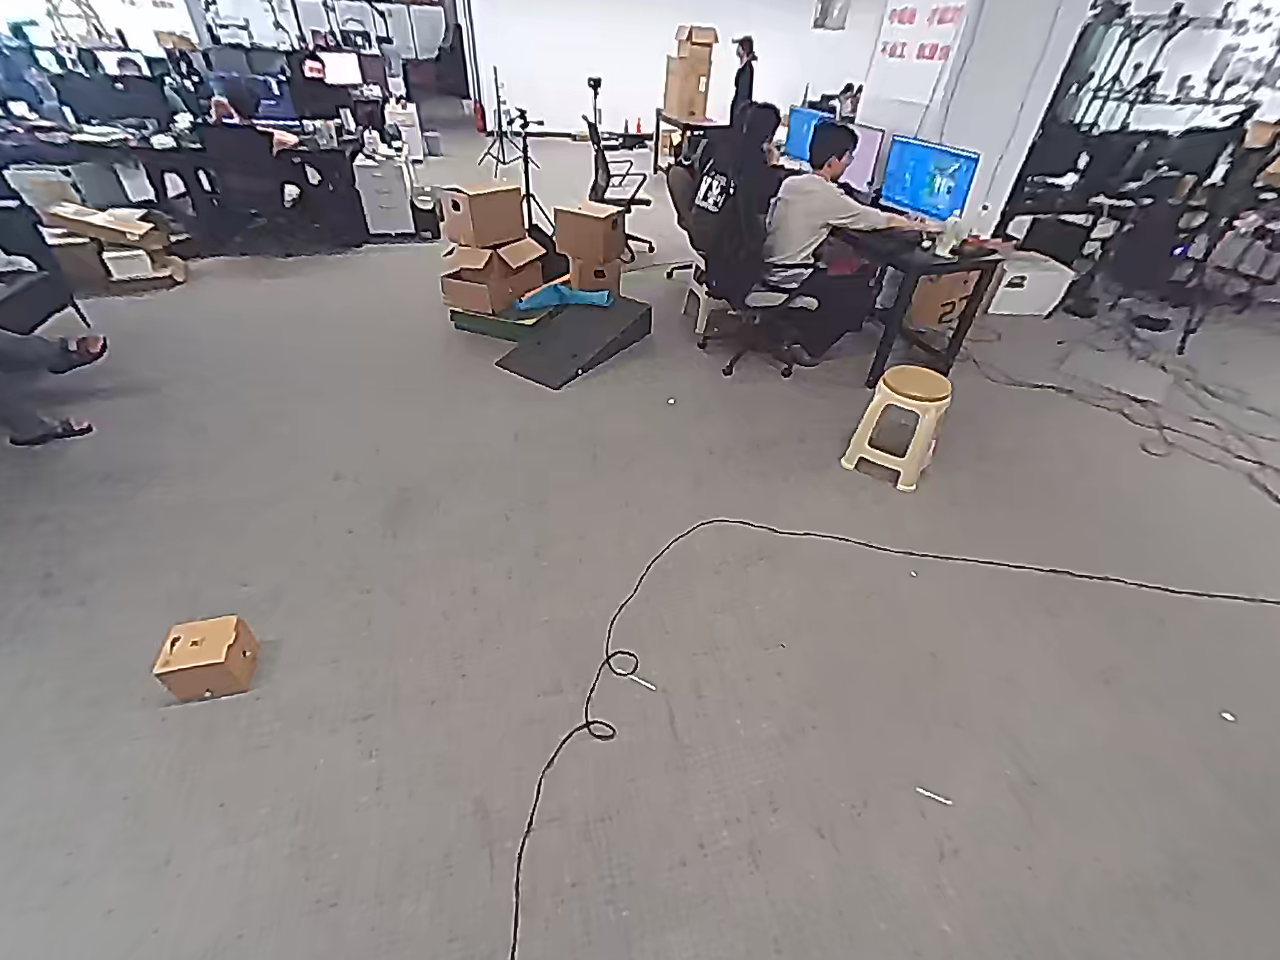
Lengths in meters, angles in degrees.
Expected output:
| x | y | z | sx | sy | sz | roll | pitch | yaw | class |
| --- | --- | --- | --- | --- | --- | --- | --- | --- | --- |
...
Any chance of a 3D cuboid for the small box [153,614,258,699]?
| x | y | z | sx | sy | sz | roll | pitch | yaw | class |
| --- | --- | --- | --- | --- | --- | --- | --- | --- | --- |
| -1.285 | 0.529 | 1.617 | 0.179 | 0.176 | 0.168 | -7 | 40 | -13 | small box |
